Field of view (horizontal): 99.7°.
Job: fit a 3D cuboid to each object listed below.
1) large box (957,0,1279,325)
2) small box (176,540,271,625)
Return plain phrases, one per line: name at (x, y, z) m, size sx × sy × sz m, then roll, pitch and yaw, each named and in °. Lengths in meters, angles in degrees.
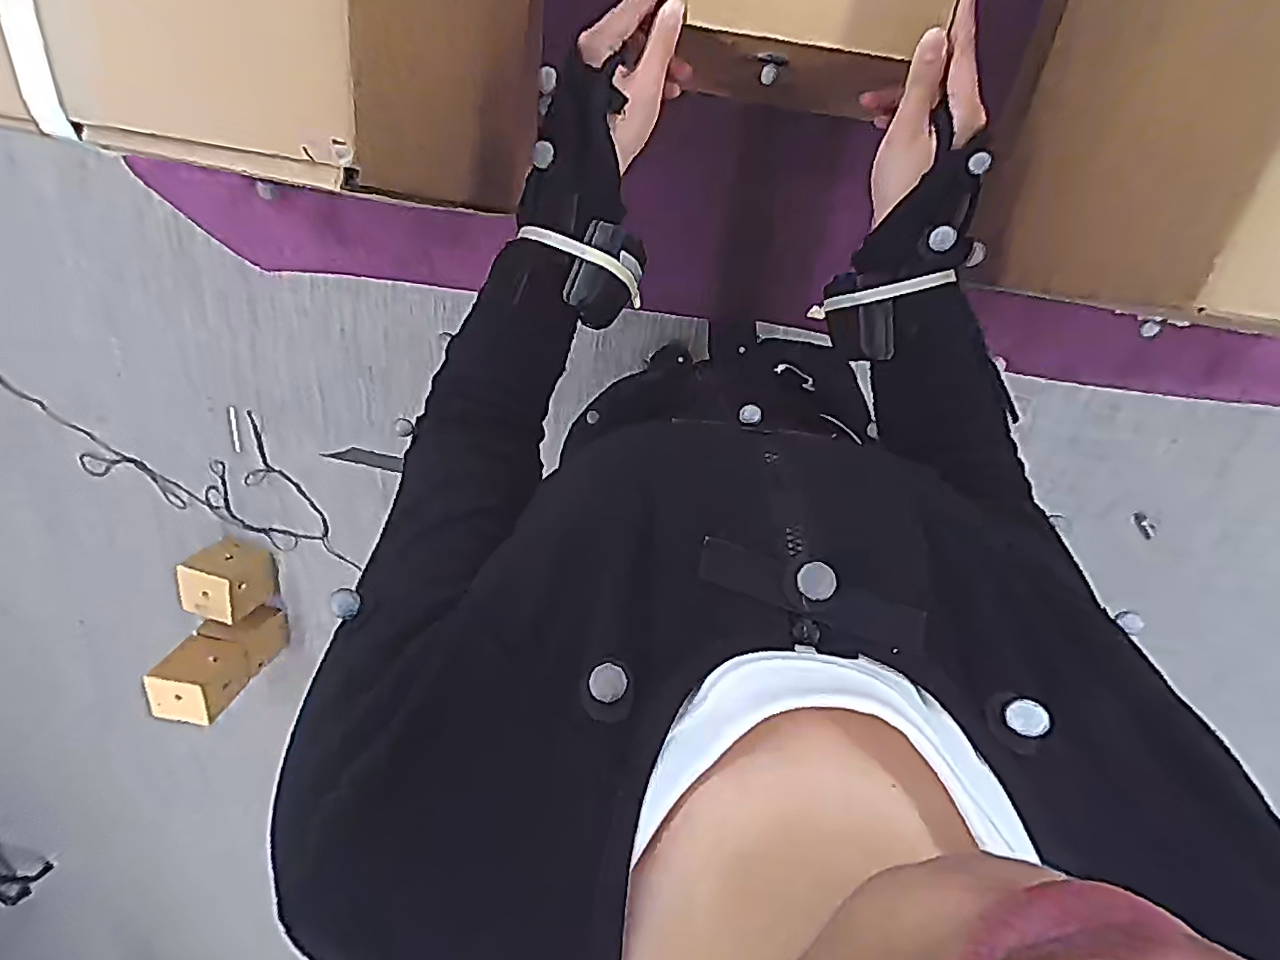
large box at (0.444, -0.289, 0.286) m, size 0.320 × 0.320 × 0.408 m, roll 11°, pitch 113°, yaw 3°
small box at (-1.289, 0.313, 1.685) m, size 0.168 × 0.176 × 0.179 m, roll 17°, pitch 115°, yaw 2°
